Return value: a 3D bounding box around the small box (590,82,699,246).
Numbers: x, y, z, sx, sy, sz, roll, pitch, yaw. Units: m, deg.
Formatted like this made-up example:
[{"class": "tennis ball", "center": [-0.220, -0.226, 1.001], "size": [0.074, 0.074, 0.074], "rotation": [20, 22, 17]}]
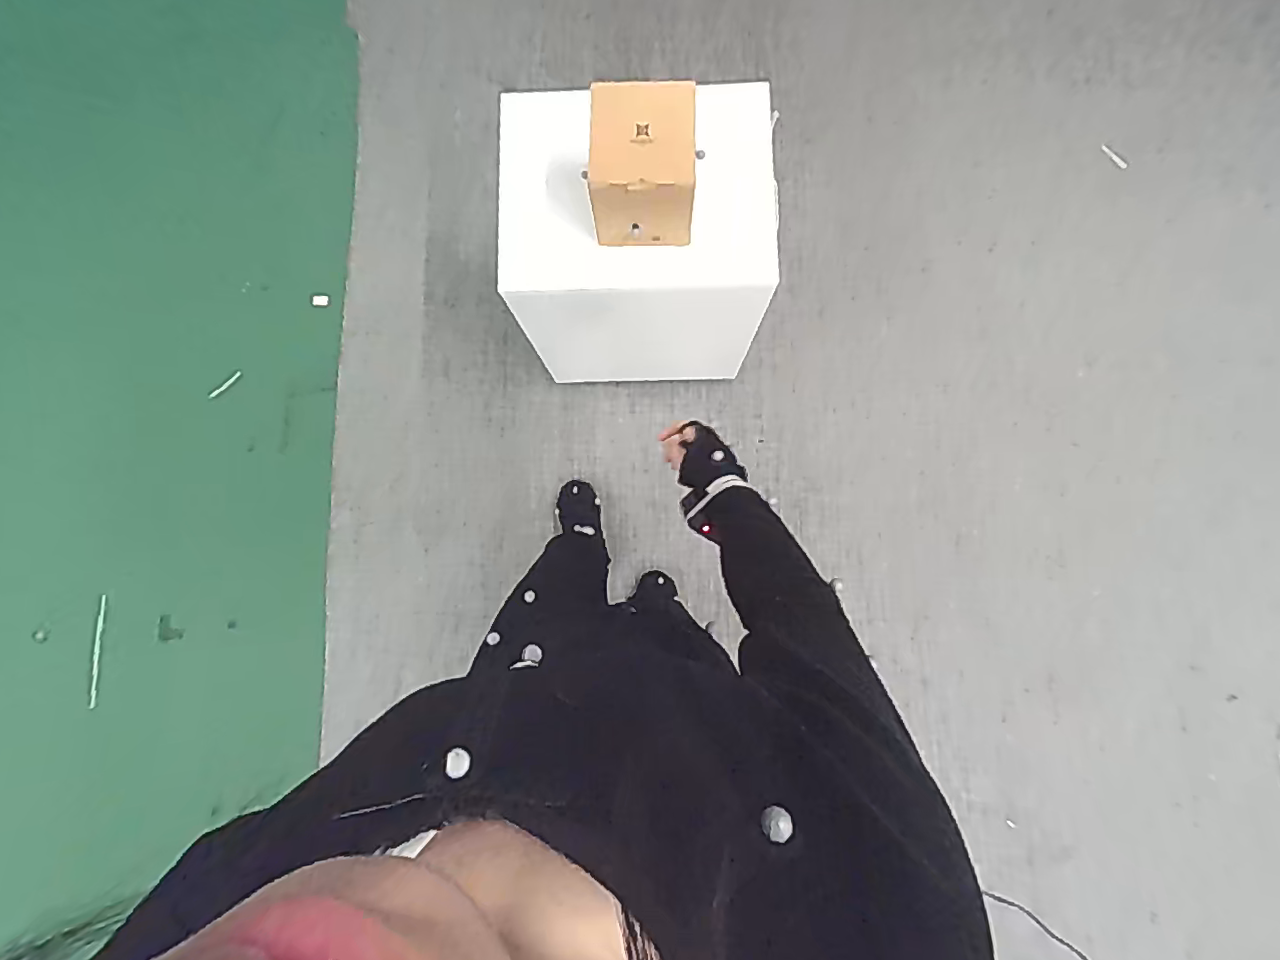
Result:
[{"class": "small box", "center": [0.009, -0.518, 0.901], "size": [0.168, 0.176, 0.179], "rotation": [0, 83, 2]}]
